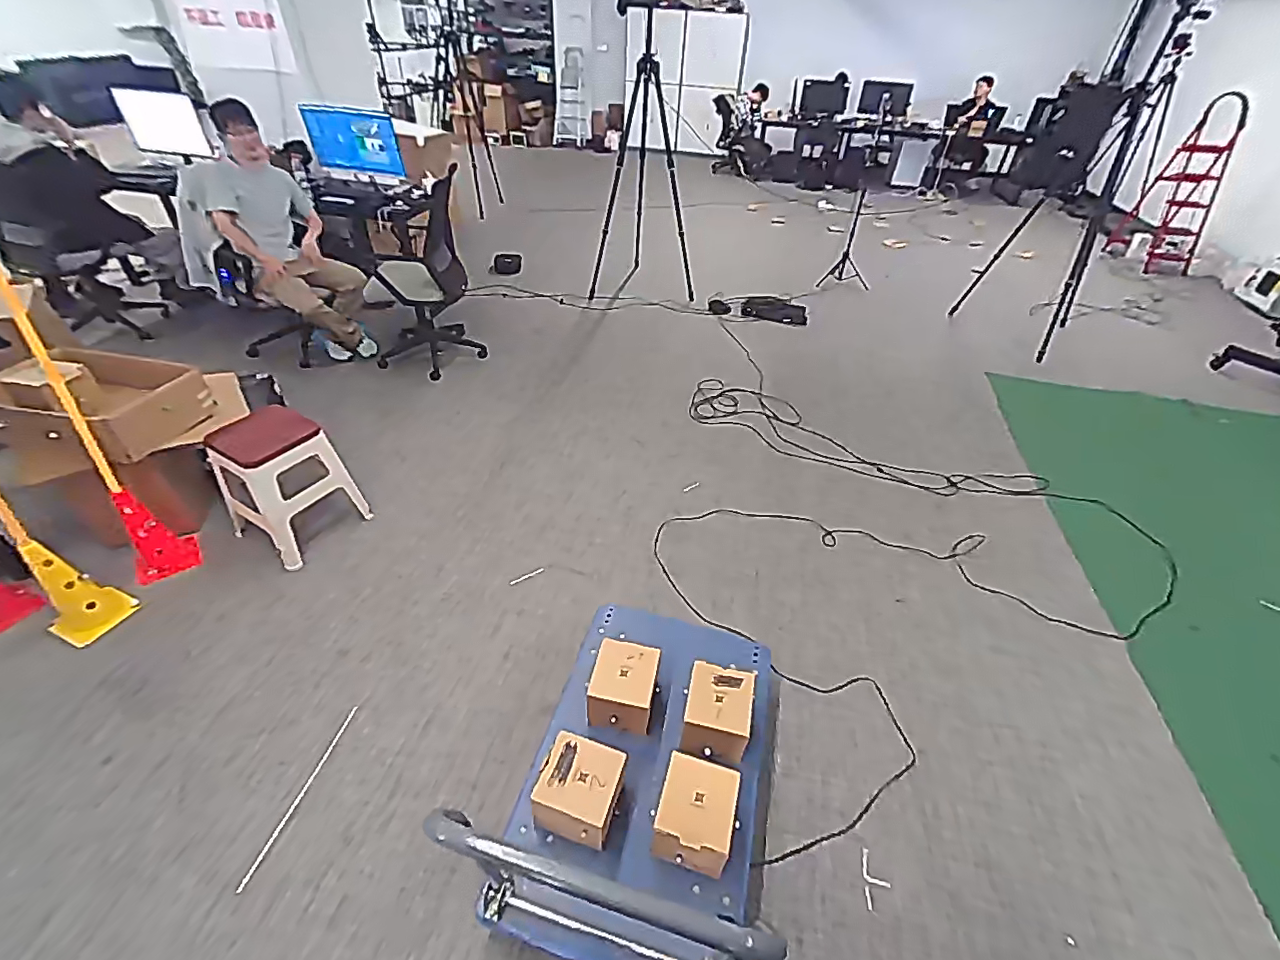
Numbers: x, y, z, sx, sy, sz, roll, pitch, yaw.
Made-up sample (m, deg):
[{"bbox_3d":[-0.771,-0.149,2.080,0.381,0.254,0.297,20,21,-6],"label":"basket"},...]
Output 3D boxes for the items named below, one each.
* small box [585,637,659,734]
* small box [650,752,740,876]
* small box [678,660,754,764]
[{"bbox_3d":[-0.046,0.566,1.479,0.168,0.176,0.179,11,41,7],"label":"small box"},{"bbox_3d":[0.124,0.774,1.254,0.168,0.176,0.179,13,43,11],"label":"small box"},{"bbox_3d":[0.201,0.617,1.439,0.168,0.176,0.179,11,43,9],"label":"small box"}]
